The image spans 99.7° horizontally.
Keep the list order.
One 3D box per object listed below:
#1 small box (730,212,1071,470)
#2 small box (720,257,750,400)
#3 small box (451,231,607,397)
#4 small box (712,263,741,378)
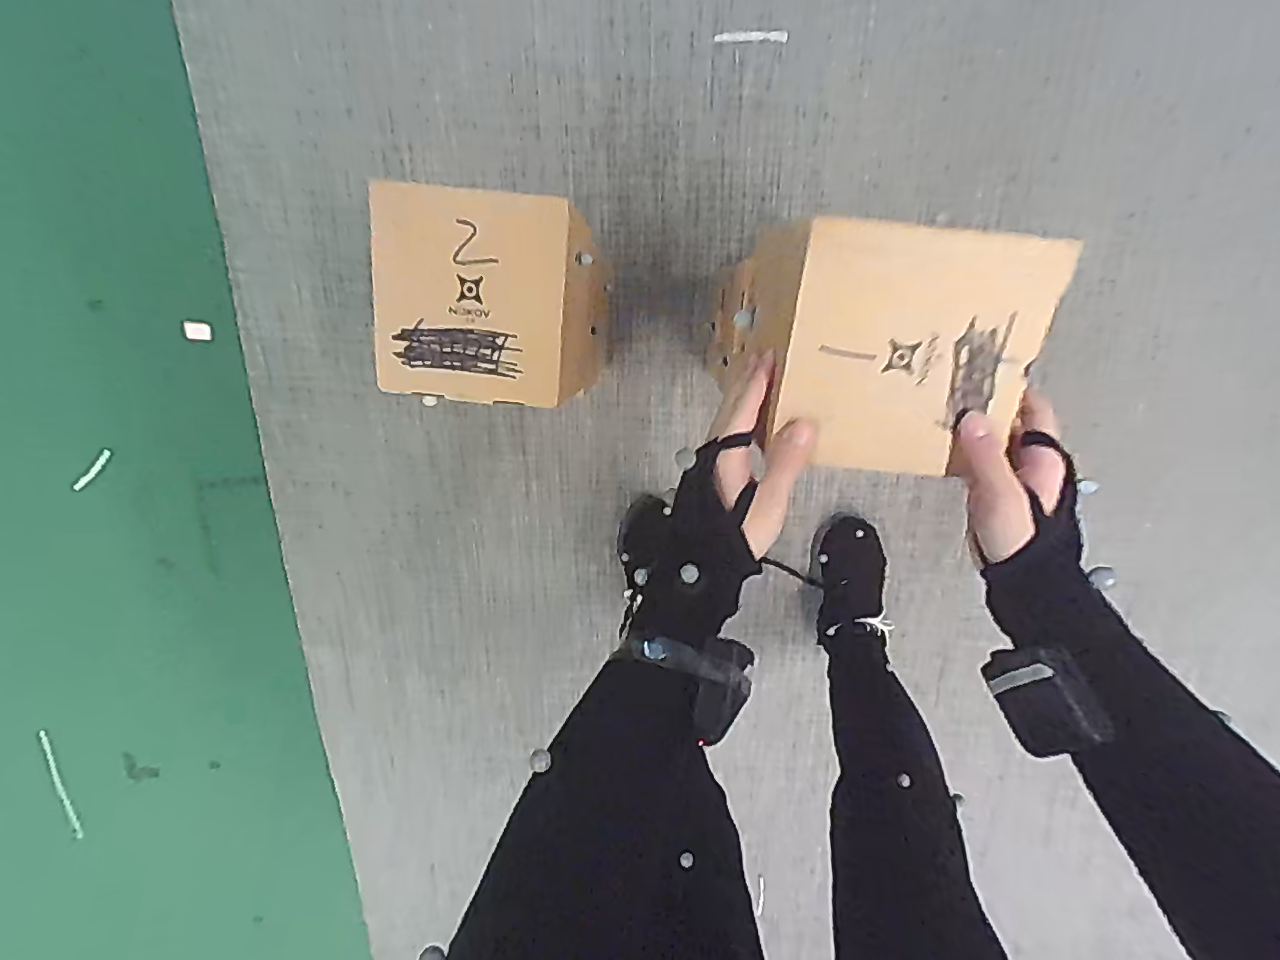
[{"bbox_3d":[0.183,-0.120,0.446,0.179,0.176,0.168,5,113,-1],"label":"small box"},{"bbox_3d":[0.202,-0.189,0.701,0.179,0.176,0.168,3,107,1],"label":"small box"},{"bbox_3d":[-0.136,-0.213,0.708,0.168,0.176,0.179,5,106,0],"label":"small box"},{"bbox_3d":[0.208,-0.246,0.855,0.179,0.176,0.168,2,107,3],"label":"small box"}]
